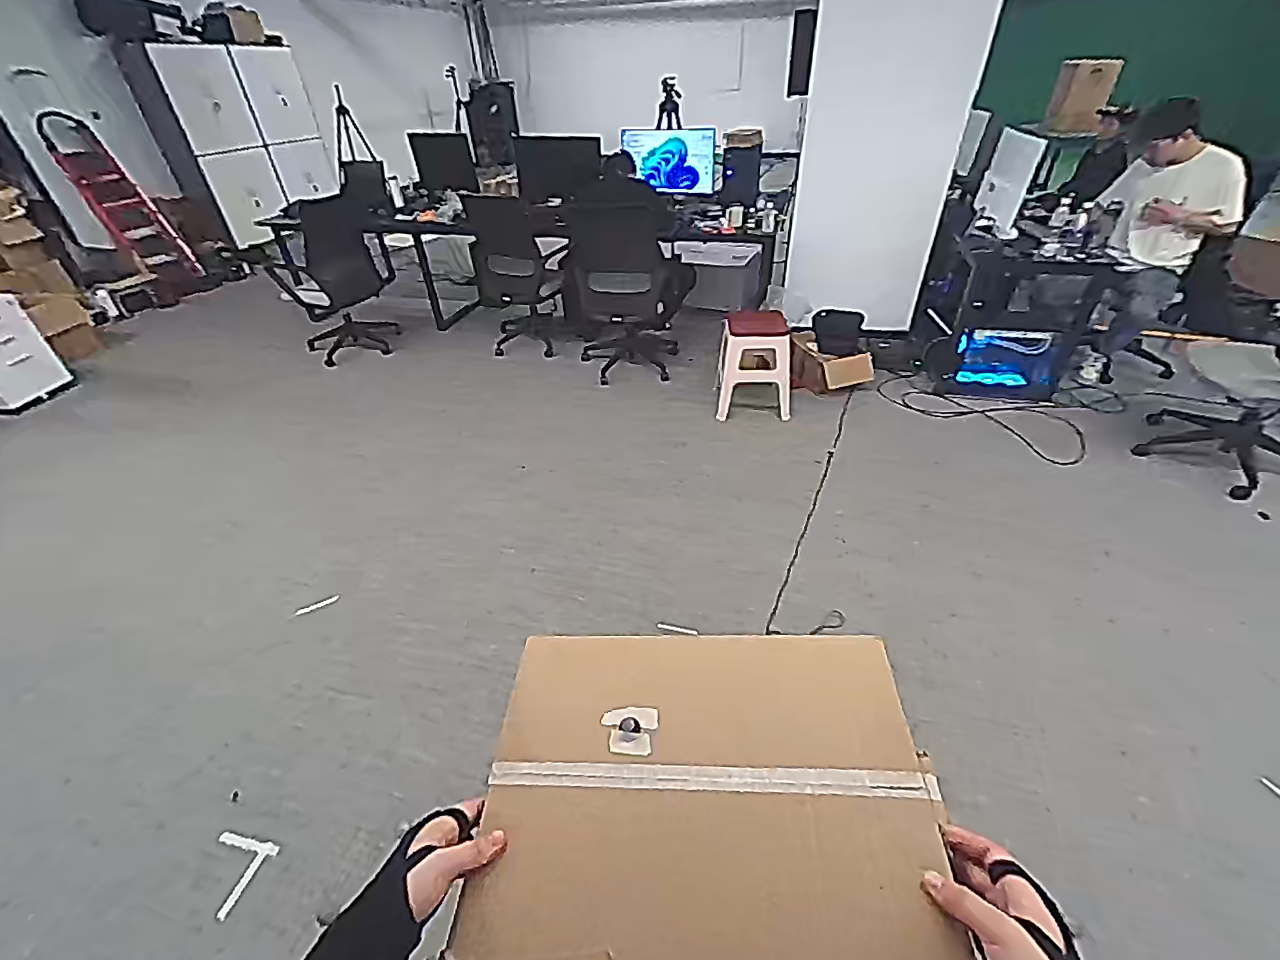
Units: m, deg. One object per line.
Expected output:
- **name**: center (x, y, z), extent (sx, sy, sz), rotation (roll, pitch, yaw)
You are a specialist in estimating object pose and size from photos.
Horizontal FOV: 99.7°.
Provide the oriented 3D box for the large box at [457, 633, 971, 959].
- **large box**: center (0.078, 0.400, 0.610), extent (0.408, 0.320, 0.320), rotation (-5, 38, 9)
